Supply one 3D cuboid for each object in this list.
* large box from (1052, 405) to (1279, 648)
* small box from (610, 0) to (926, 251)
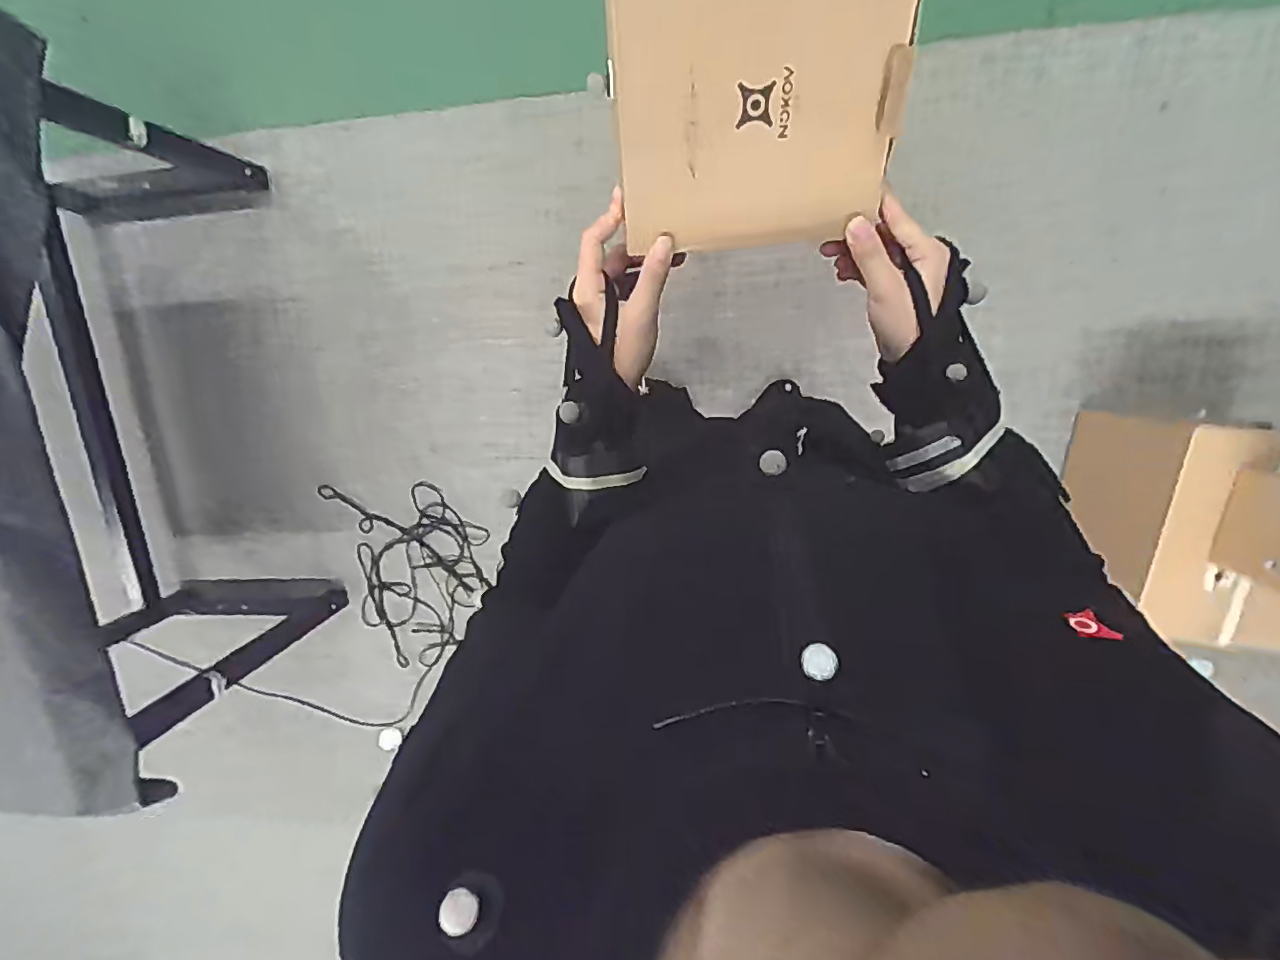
[{"bbox_3d":[1.115,0.069,1.080,0.320,0.320,0.408,5,105,8],"label":"large box"},{"bbox_3d":[0.072,-0.277,0.387,0.179,0.176,0.168,-5,127,1],"label":"small box"}]
